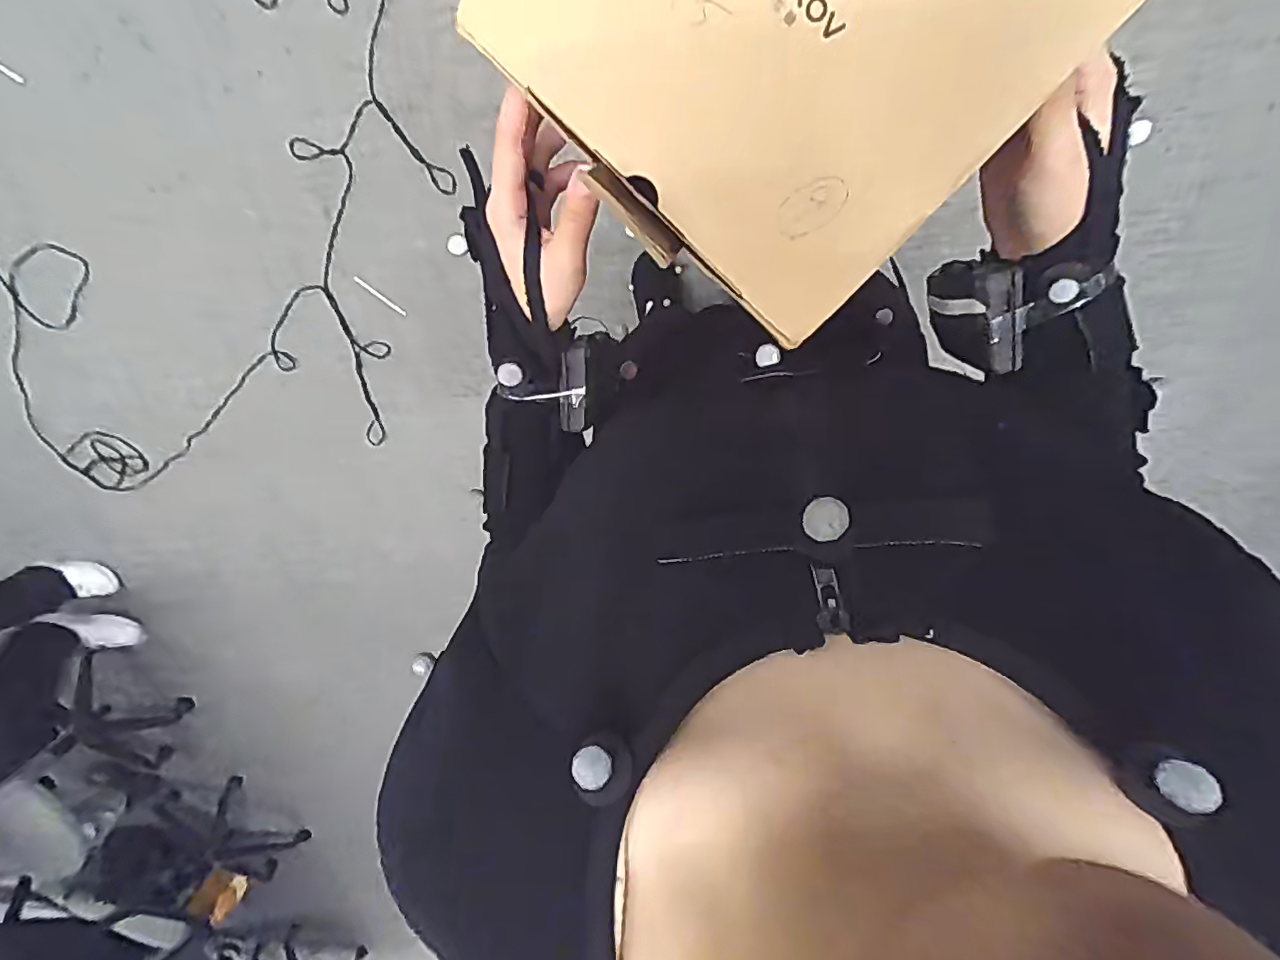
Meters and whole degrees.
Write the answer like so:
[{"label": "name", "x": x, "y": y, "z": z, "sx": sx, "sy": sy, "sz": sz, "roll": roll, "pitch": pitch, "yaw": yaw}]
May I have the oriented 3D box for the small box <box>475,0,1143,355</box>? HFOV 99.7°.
[{"label": "small box", "x": 0.061, "y": -0.192, "z": 0.254, "sx": 0.168, "sy": 0.176, "sz": 0.179, "roll": 39, "pitch": 113, "yaw": -13}]
